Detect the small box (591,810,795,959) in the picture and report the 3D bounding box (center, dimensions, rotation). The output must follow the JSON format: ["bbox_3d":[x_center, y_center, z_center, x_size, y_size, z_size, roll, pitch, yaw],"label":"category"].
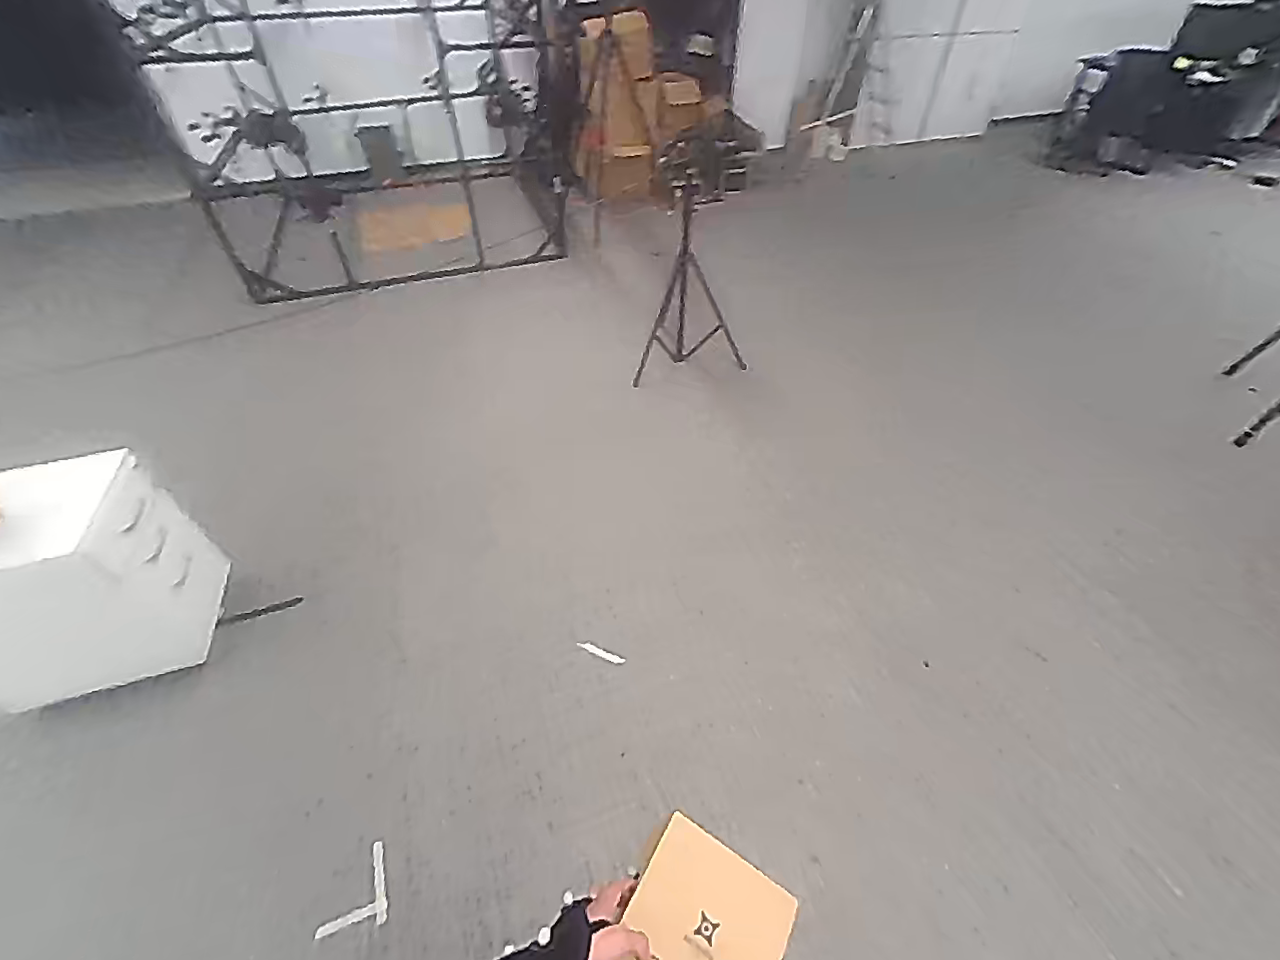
[{"bbox_3d":[0.052,0.535,0.640,0.168,0.176,0.179,30,54,14],"label":"small box"}]
